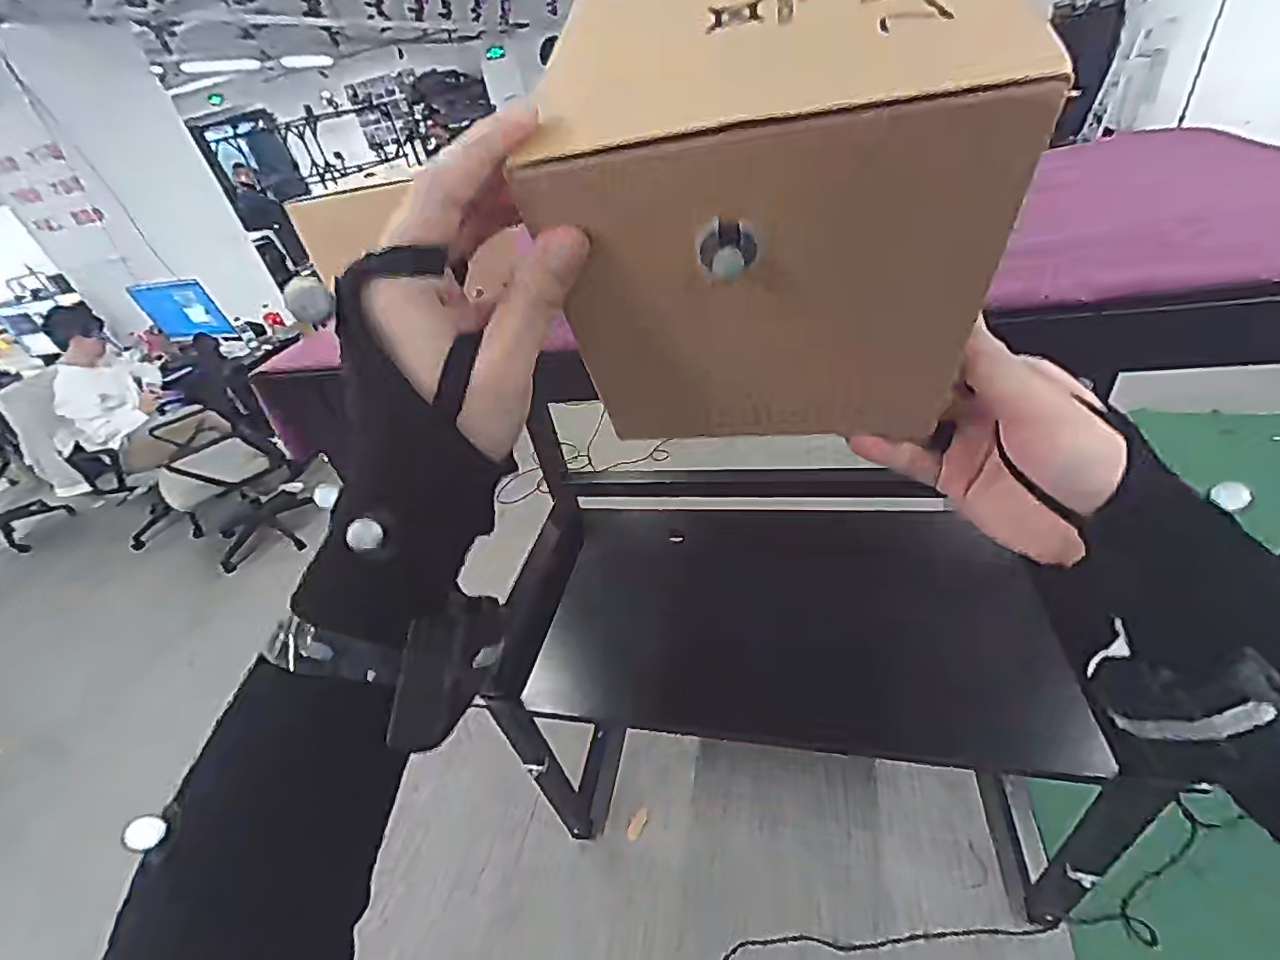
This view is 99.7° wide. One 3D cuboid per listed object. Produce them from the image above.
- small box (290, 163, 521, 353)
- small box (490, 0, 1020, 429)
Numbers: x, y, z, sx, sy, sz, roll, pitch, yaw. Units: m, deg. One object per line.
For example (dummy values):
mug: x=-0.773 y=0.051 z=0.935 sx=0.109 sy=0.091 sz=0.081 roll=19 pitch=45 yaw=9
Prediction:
small box: x=-0.273 y=-0.275 z=0.679 sx=0.179 sy=0.176 sz=0.168 roll=-2 pitch=37 yaw=16
small box: x=0.056 y=-0.138 z=0.282 sx=0.179 sy=0.176 sz=0.168 roll=-1 pitch=60 yaw=15
